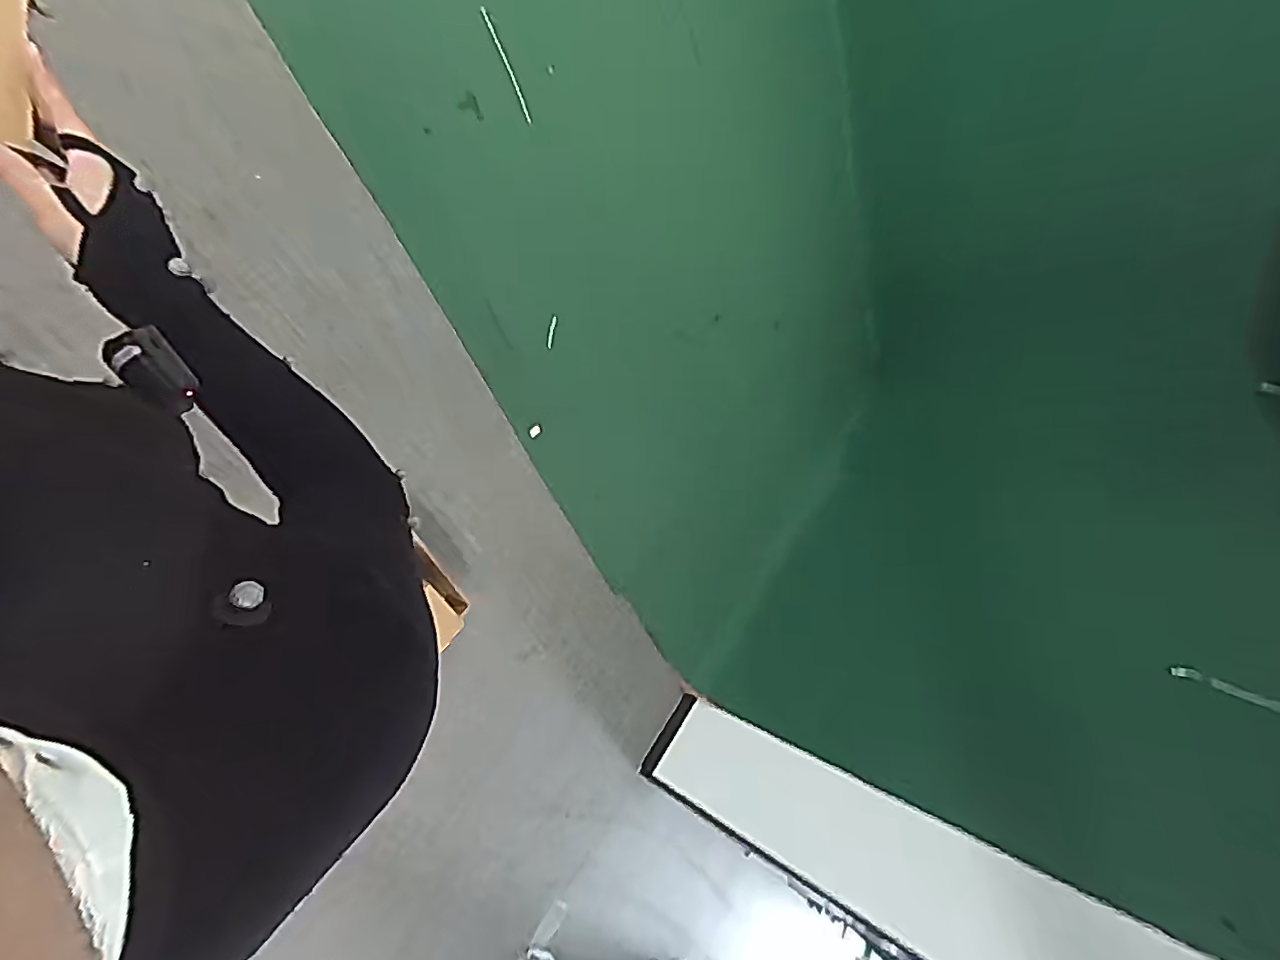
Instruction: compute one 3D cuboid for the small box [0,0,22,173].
[{"bbox_3d":[-0.572,-0.351,0.386,0.168,0.176,0.179,-3,105,-48],"label":"small box"}]
